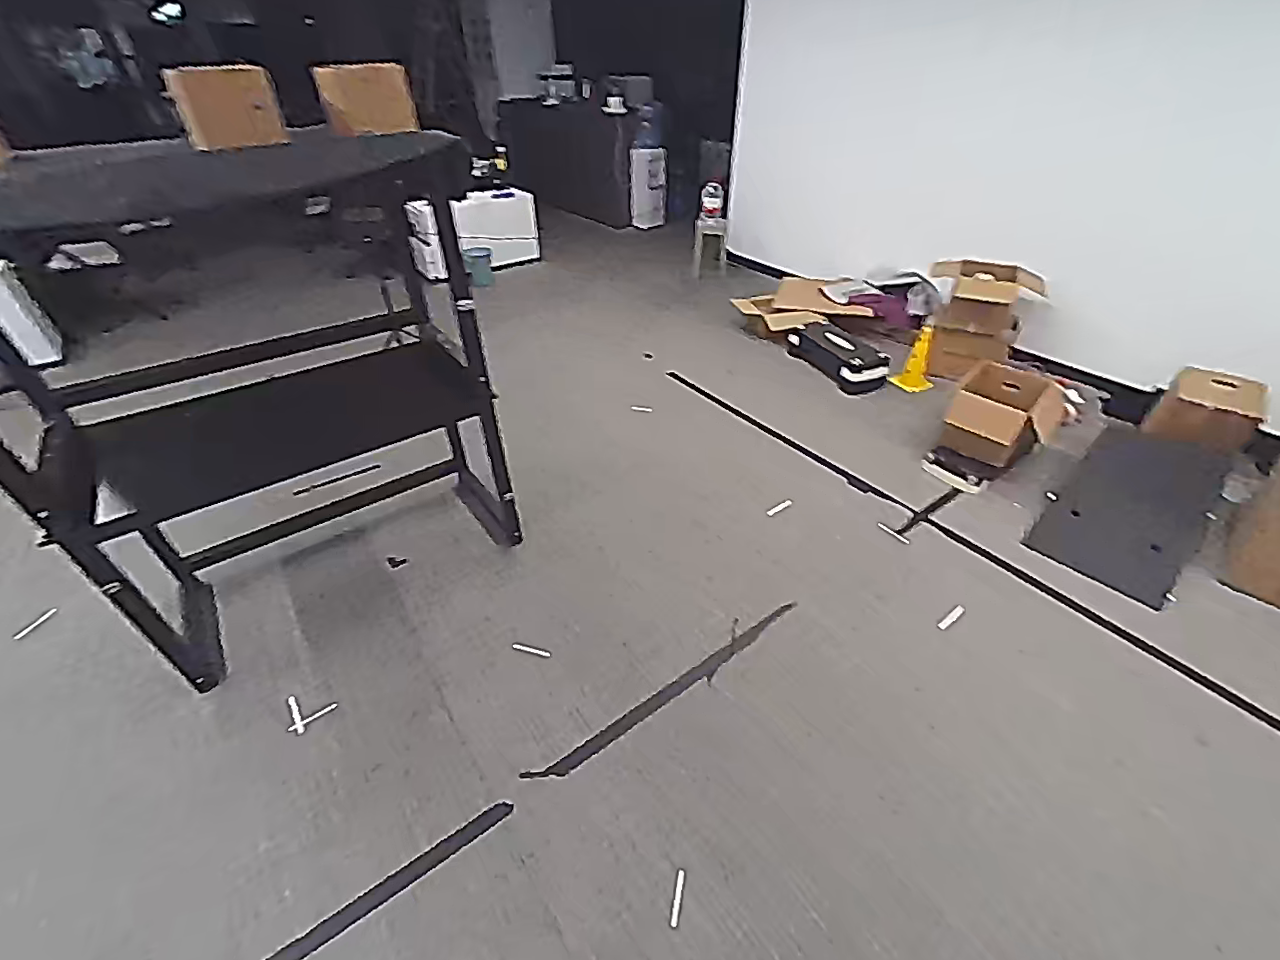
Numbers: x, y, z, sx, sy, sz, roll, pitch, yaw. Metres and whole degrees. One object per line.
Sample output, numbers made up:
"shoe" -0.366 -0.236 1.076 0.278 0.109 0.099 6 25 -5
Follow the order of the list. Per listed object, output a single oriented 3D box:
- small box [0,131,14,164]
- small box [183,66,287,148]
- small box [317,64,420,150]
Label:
"small box" -1.540 -0.780 1.180 0.179 0.176 0.168 -26 46 -30
"small box" -1.086 -1.004 1.457 0.168 0.176 0.179 -26 46 -28
"small box" -0.692 -0.958 1.390 0.168 0.176 0.179 -28 45 -29
